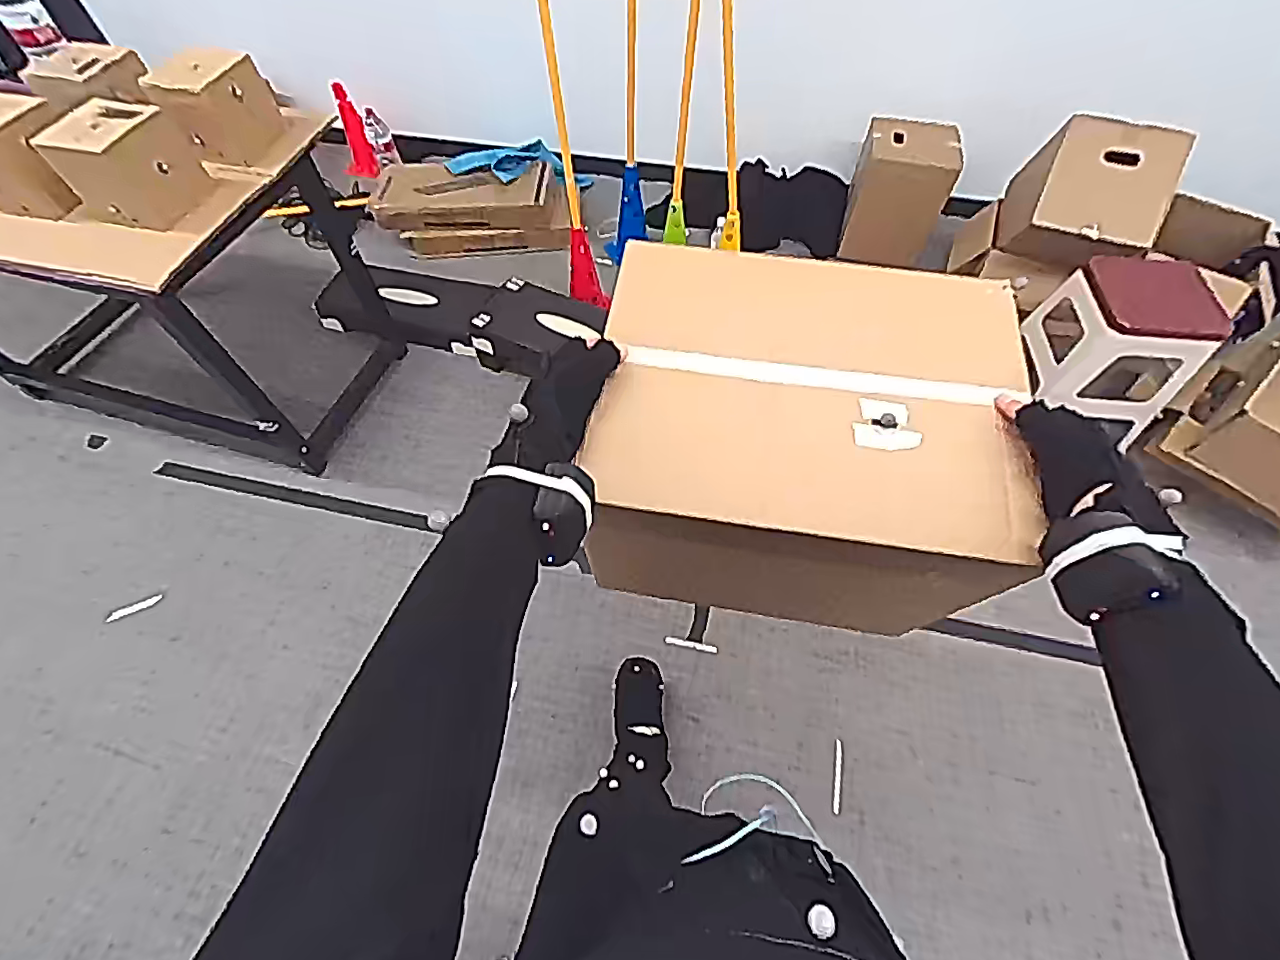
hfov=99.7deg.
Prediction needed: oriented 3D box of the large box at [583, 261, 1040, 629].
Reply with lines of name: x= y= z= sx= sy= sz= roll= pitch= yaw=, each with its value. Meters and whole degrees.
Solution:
large box: x=0.165 y=-0.024 z=0.666 sx=0.408 sy=0.320 sz=0.320 roll=8 pitch=65 yaw=5
